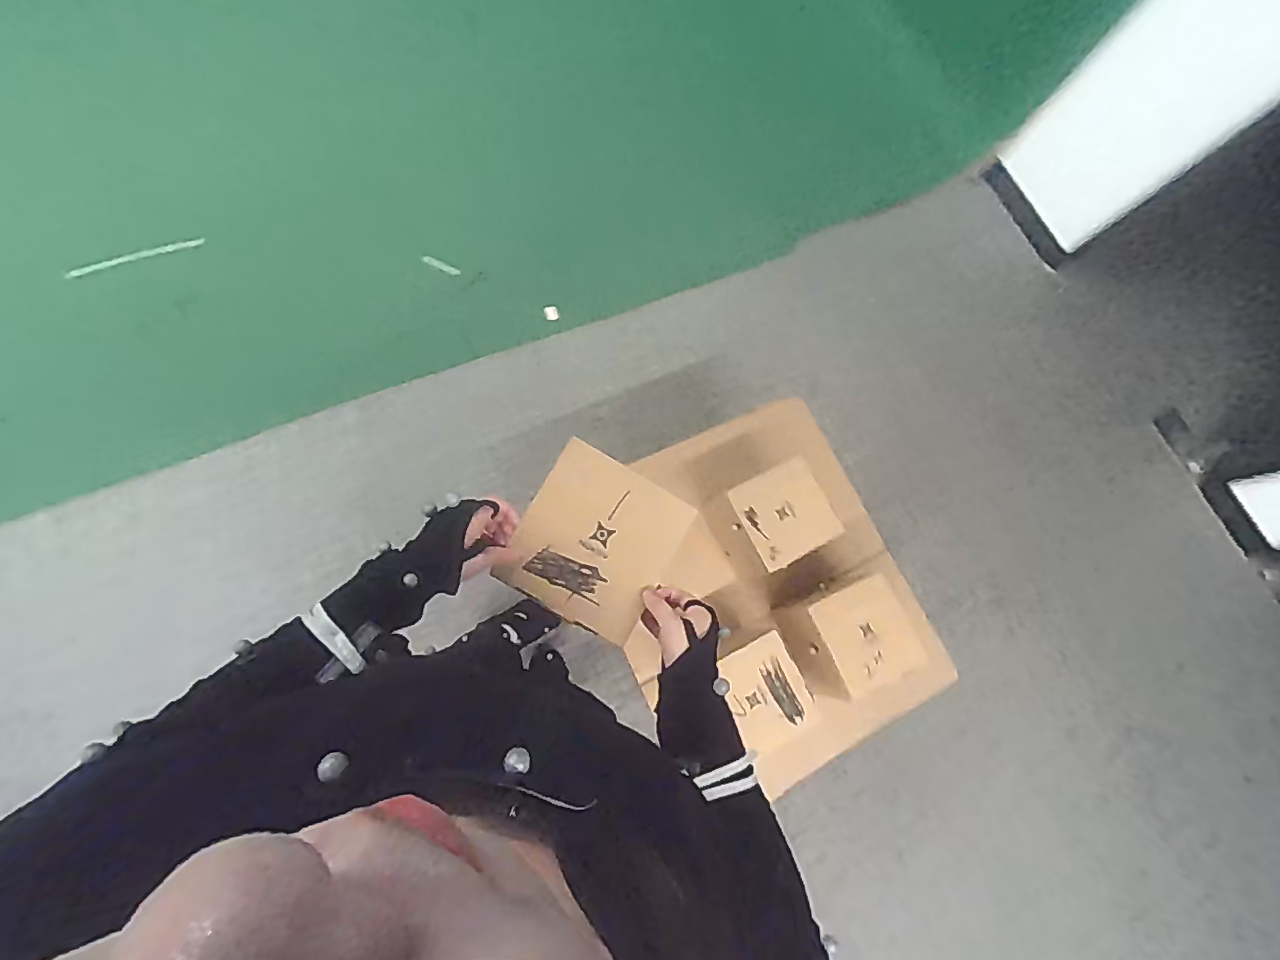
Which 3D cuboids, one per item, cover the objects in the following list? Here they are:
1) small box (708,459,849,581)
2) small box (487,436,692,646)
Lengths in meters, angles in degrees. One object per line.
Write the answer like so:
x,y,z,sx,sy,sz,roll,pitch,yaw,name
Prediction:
0.259,0.084,1.052,0.179,0.176,0.168,-24,79,-15,small box
-0.060,0.072,0.664,0.168,0.176,0.179,30,82,-4,small box
